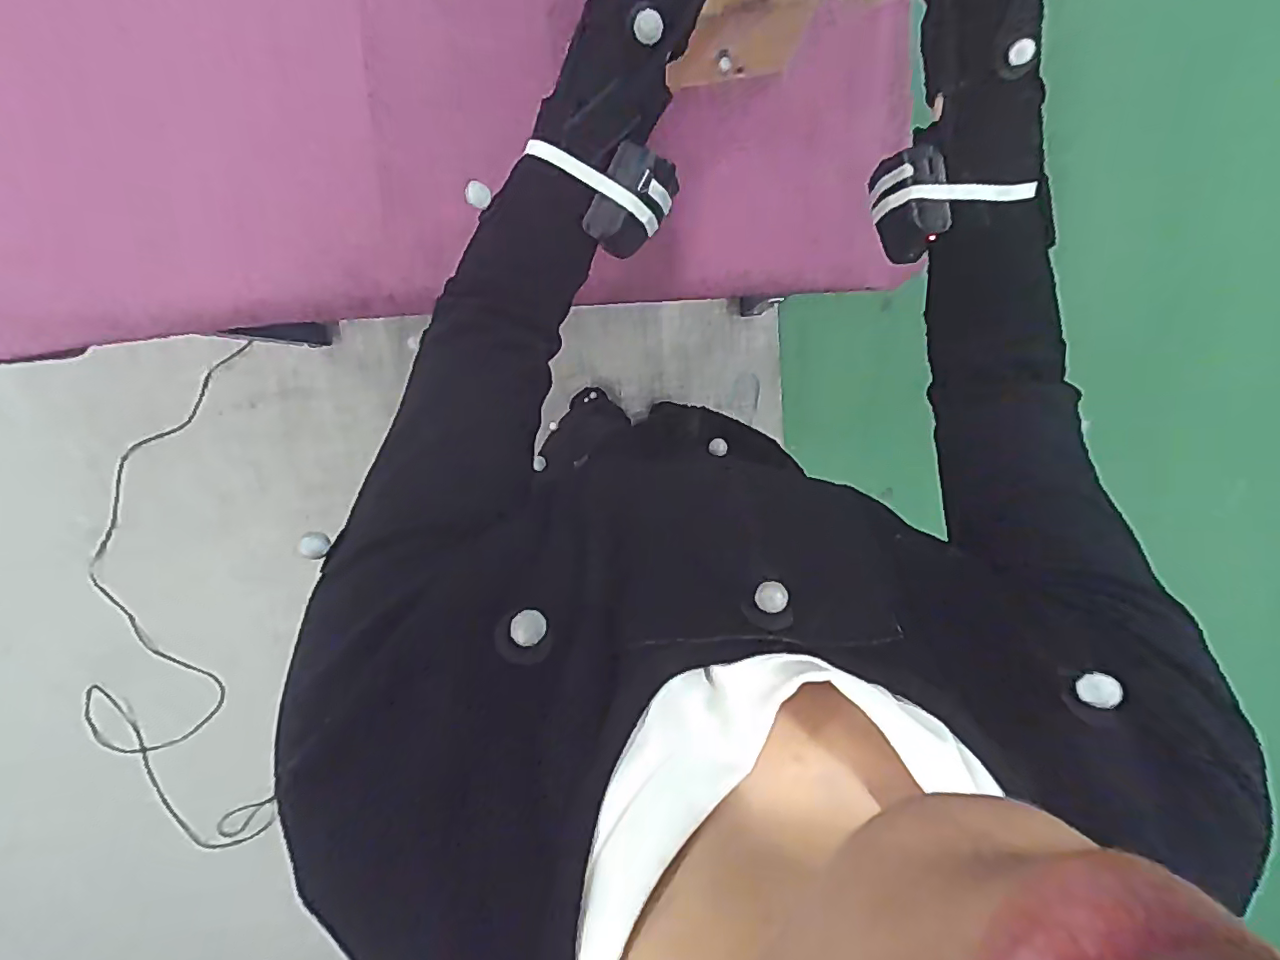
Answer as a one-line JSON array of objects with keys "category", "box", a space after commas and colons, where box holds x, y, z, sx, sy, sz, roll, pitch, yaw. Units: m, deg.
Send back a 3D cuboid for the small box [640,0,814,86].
[{"category": "small box", "box": [0.081, -0.554, 0.558, 0.168, 0.176, 0.179, -7, 100, 2]}]
